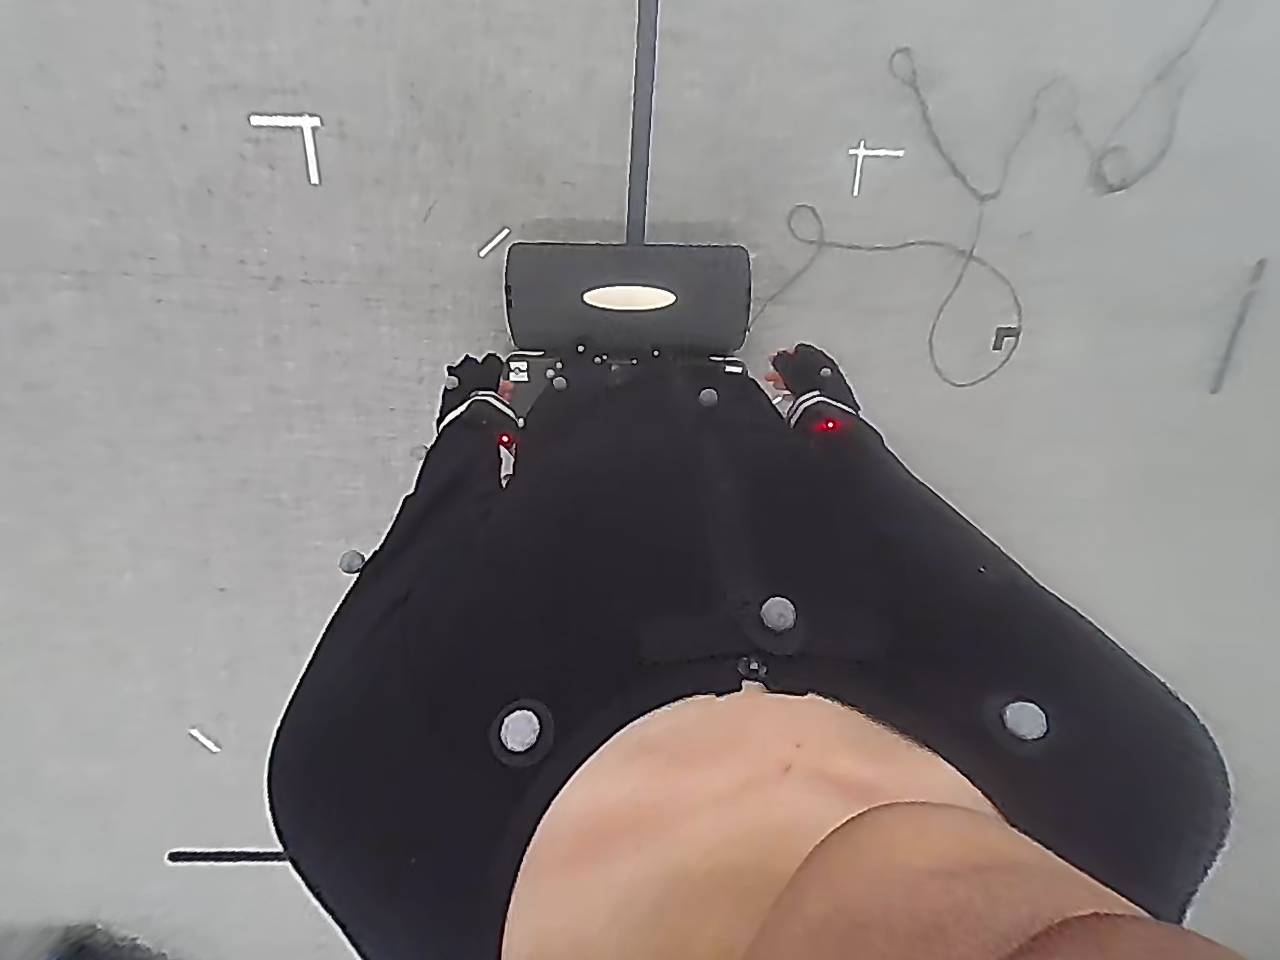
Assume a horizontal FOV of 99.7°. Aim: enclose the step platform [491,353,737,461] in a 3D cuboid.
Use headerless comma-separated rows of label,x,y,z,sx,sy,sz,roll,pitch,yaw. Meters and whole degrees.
step platform,-0.071,-0.208,1.535,0.684,0.204,0.286,0,106,-2
